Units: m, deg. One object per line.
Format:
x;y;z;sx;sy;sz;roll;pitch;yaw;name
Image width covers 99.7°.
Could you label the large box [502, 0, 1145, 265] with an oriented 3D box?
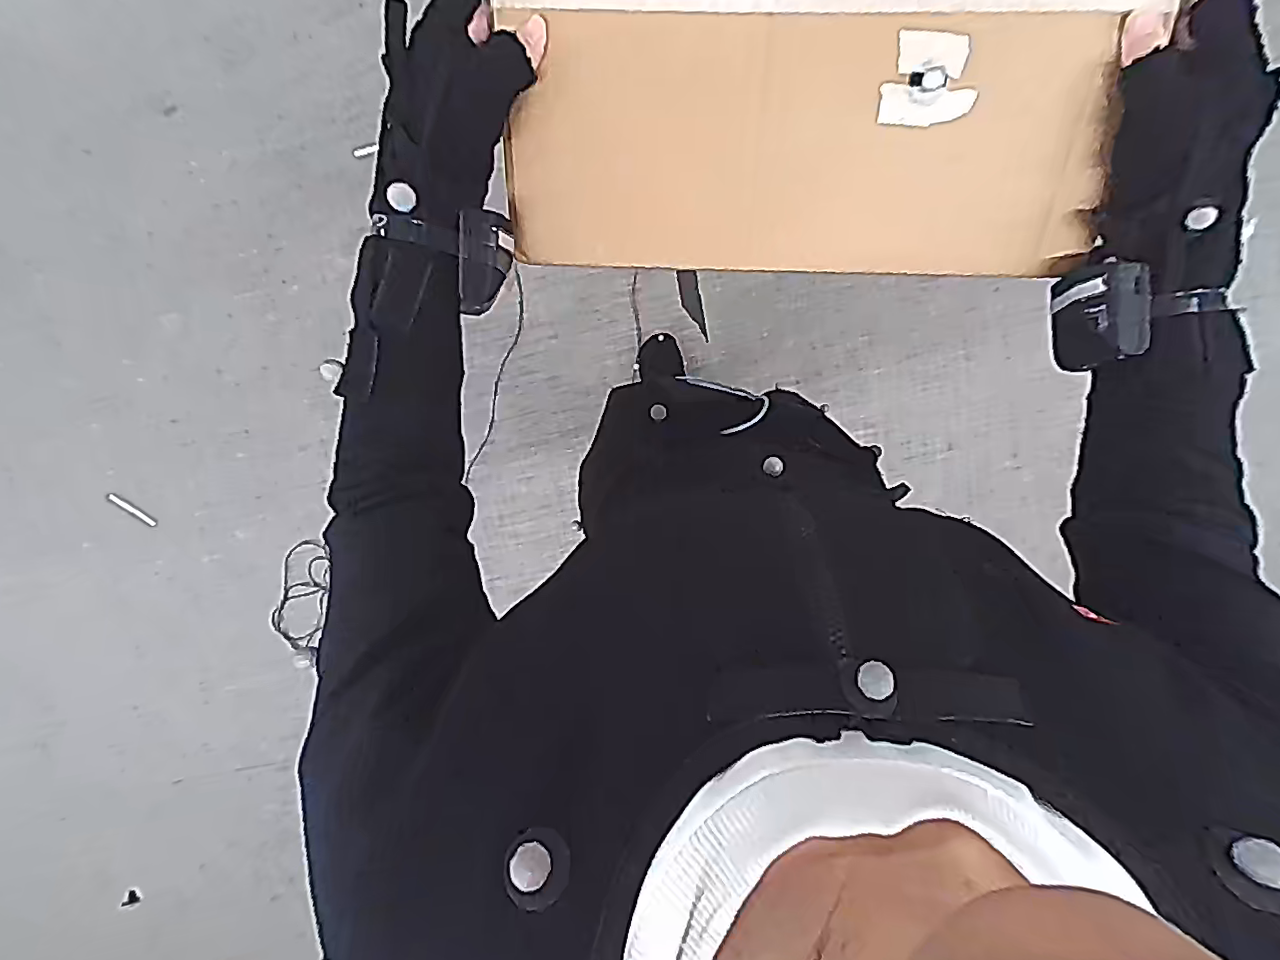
0.112;-0.366;0.466;0.408;0.320;0.320;1;117;1;large box
